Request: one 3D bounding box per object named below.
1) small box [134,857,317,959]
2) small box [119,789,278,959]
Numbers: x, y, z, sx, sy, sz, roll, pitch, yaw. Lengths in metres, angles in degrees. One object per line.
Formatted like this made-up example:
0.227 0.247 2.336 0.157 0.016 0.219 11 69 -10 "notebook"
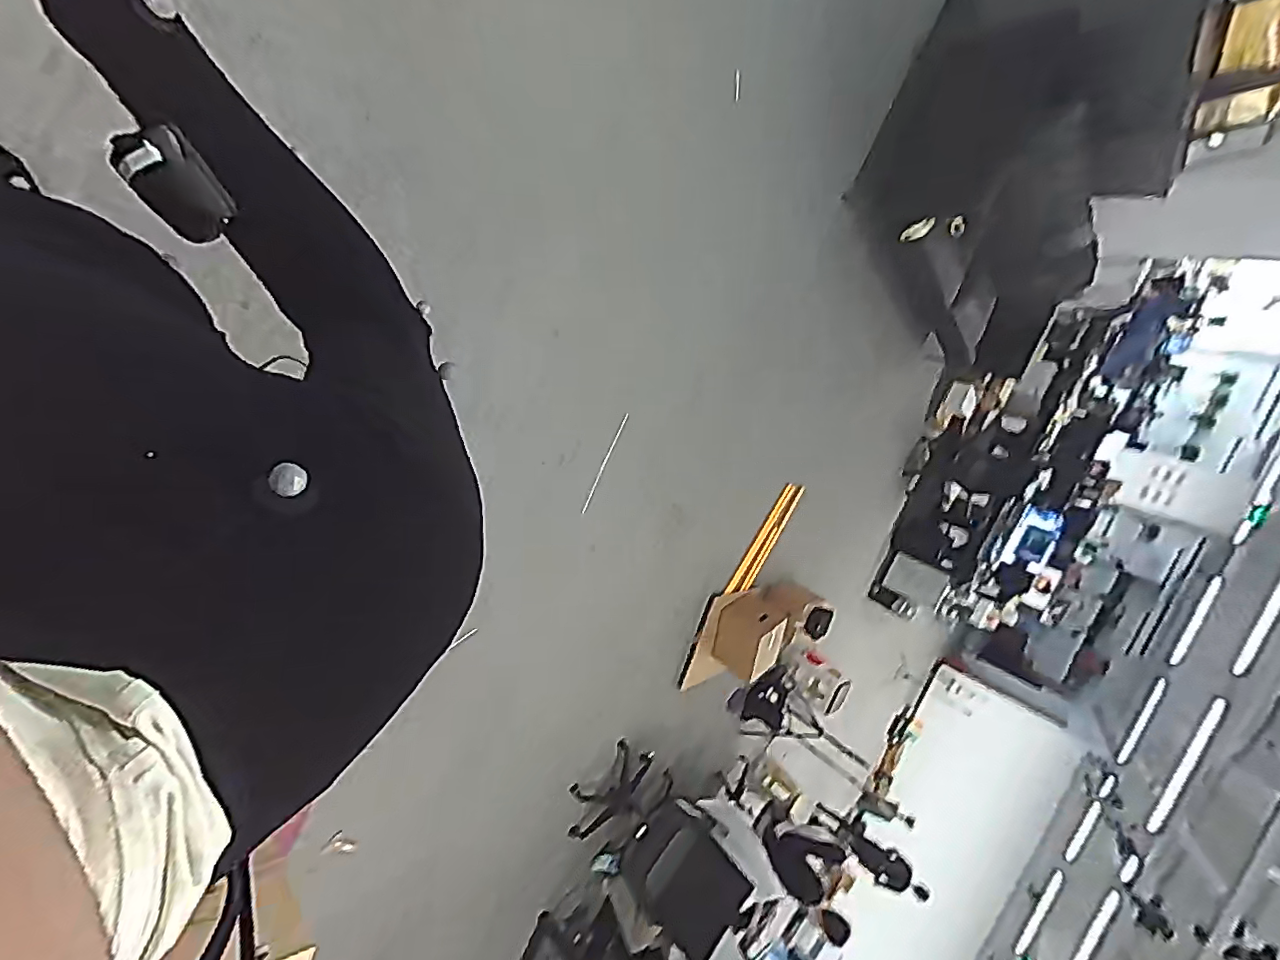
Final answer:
-0.599 0.697 0.771 0.168 0.176 0.179 17 99 -50 "small box"
-0.717 0.651 0.878 0.168 0.176 0.179 14 100 -49 "small box"
